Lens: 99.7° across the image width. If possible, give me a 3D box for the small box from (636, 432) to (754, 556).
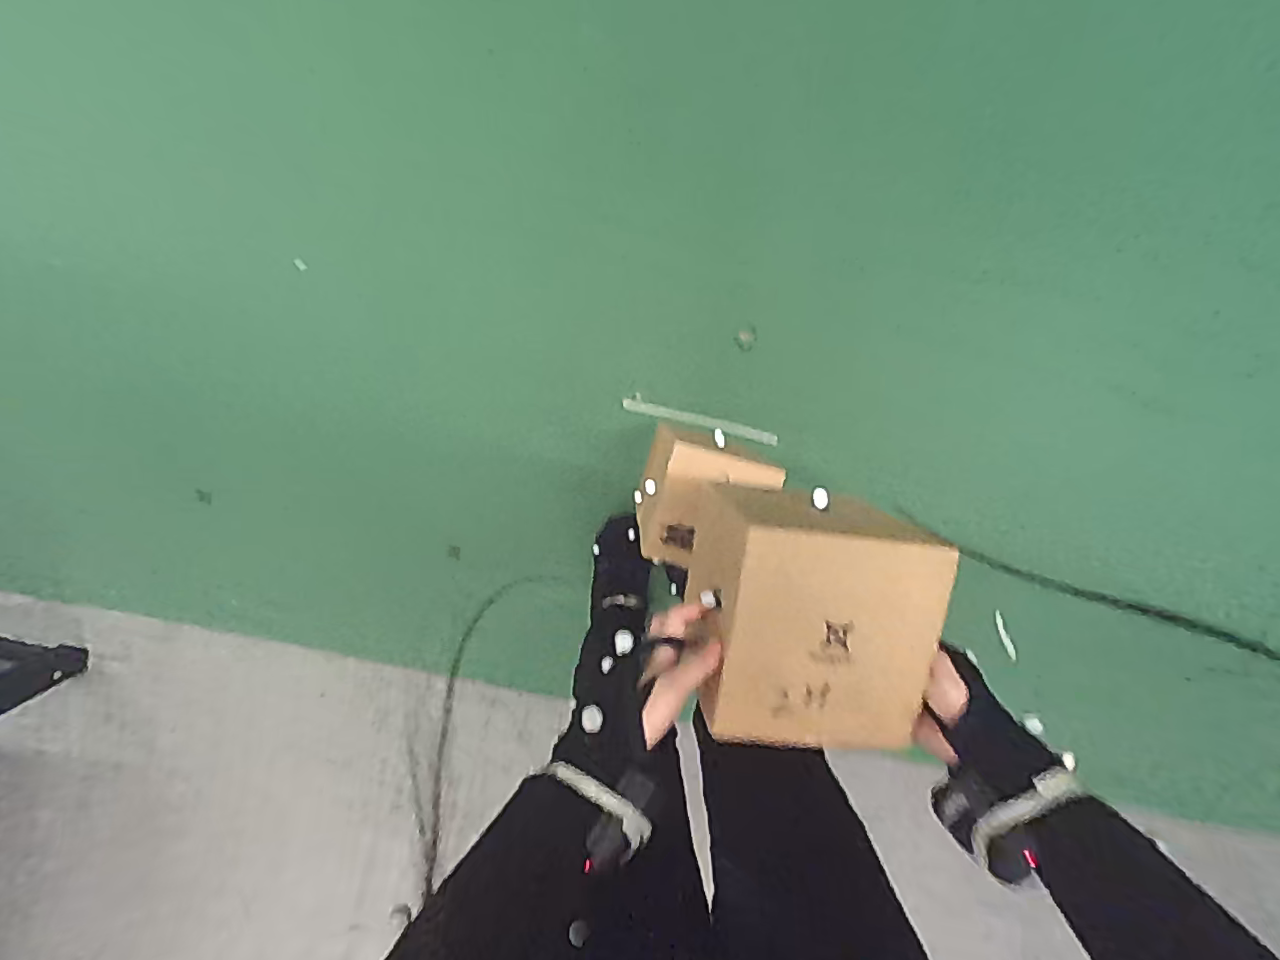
[{"bbox_3d":[0.092,0.017,1.015,0.168,0.176,0.179,16,100,-5],"label":"small box"}]
